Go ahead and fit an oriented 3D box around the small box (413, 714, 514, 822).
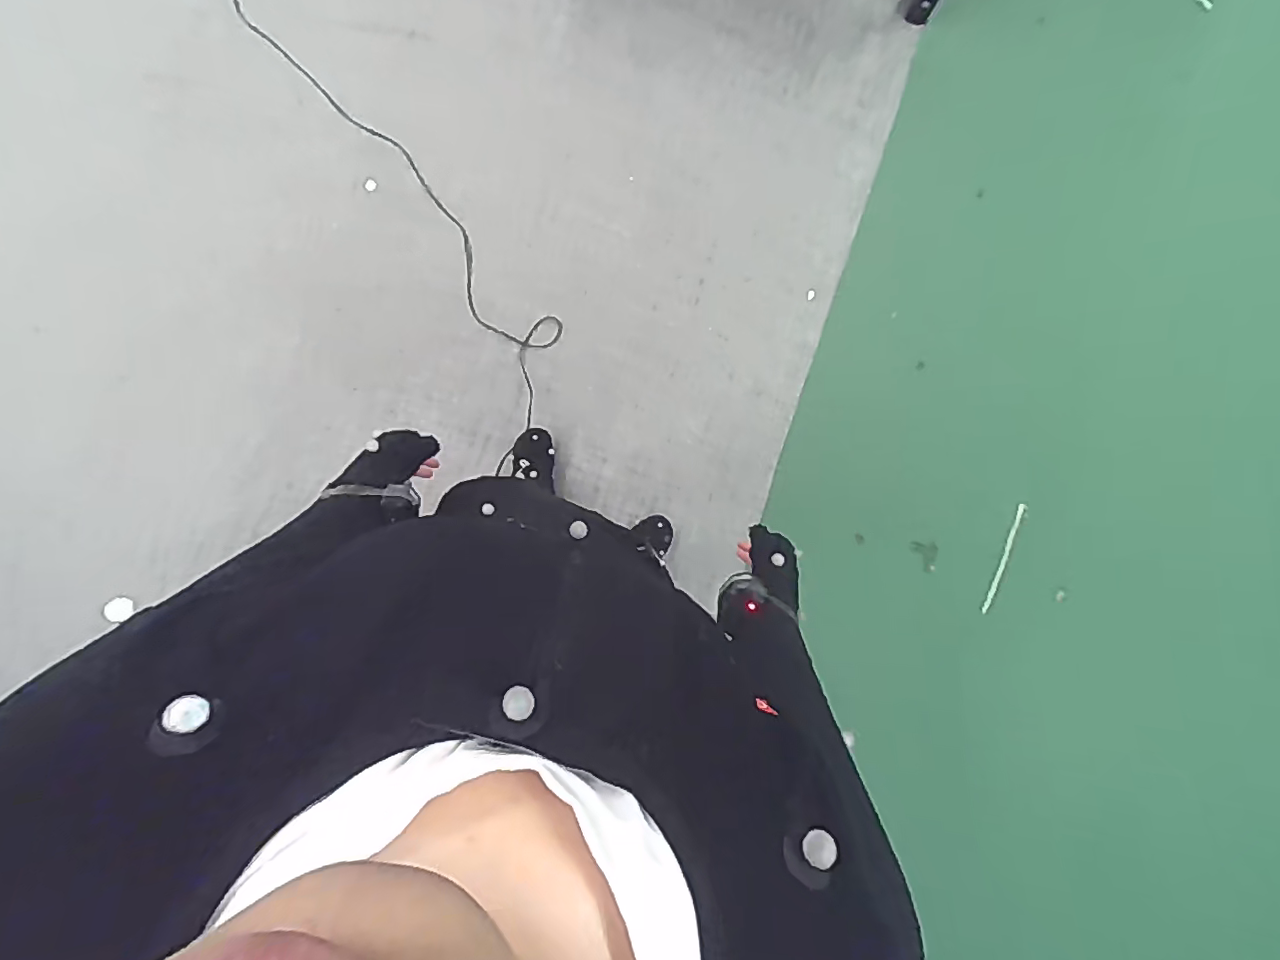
[{"bbox_3d":[-0.431,0.702,1.339,0.179,0.176,0.168,9,91,2],"label":"small box"}]
